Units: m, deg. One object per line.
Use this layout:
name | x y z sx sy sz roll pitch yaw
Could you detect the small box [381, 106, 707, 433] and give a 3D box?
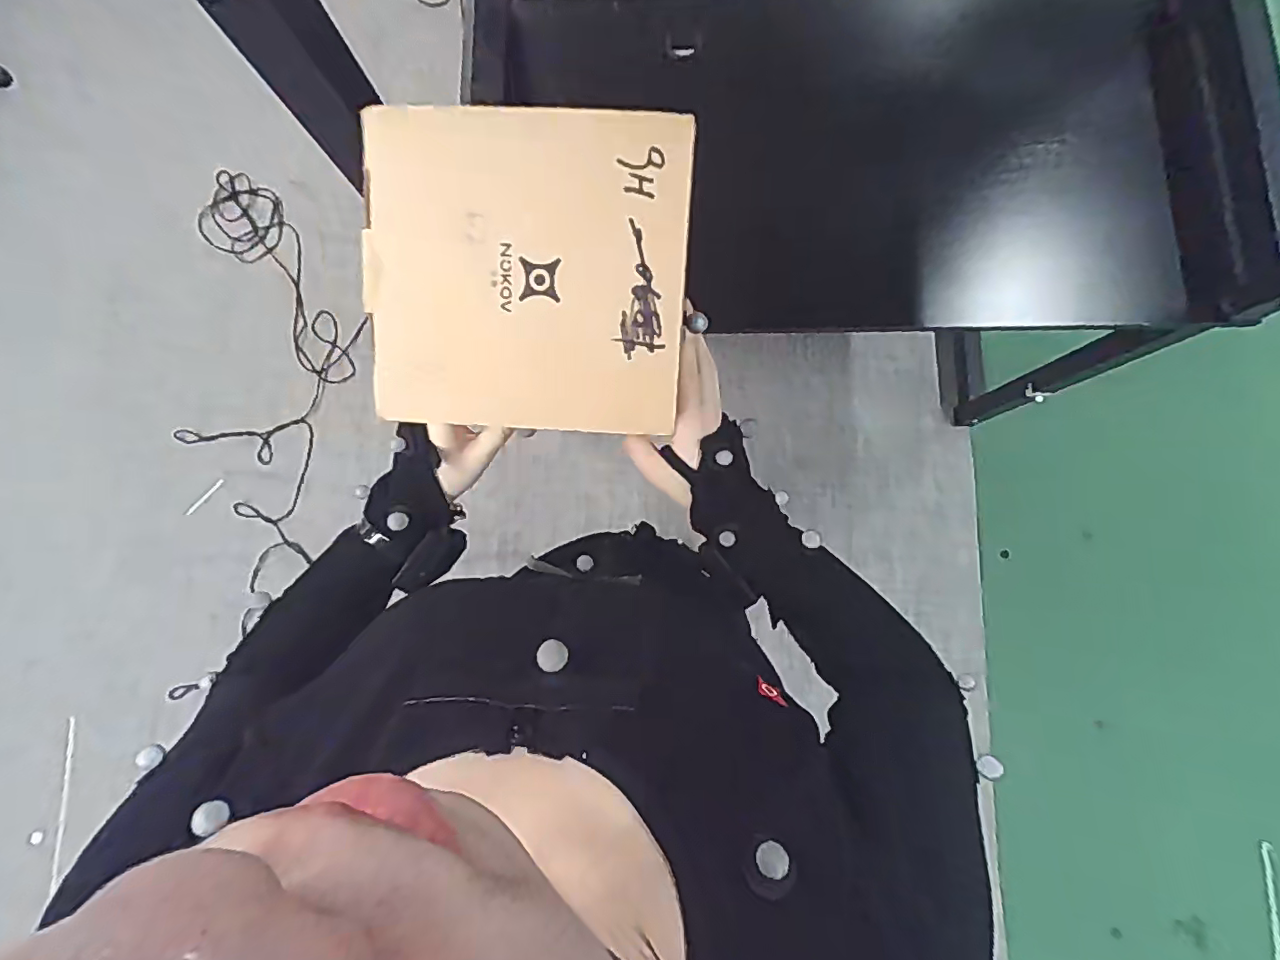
small box | -0.050 -0.128 0.375 0.179 0.176 0.168 4 103 3
